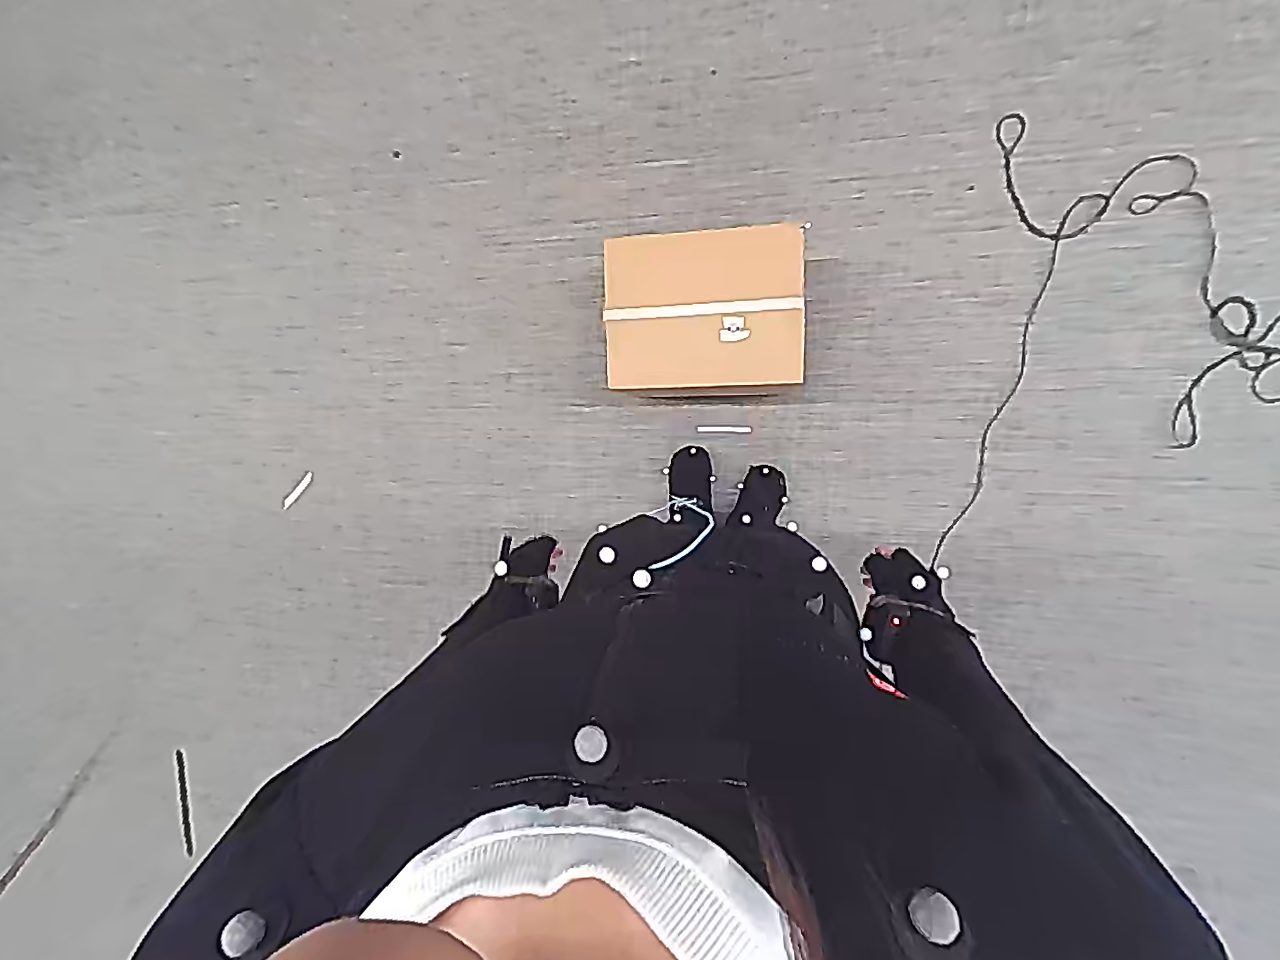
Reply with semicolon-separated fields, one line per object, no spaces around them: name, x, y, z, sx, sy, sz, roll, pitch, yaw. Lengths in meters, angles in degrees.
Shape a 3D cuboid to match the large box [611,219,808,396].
large box;0.163;-0.368;1.251;0.408;0.320;0.320;0;96;11
